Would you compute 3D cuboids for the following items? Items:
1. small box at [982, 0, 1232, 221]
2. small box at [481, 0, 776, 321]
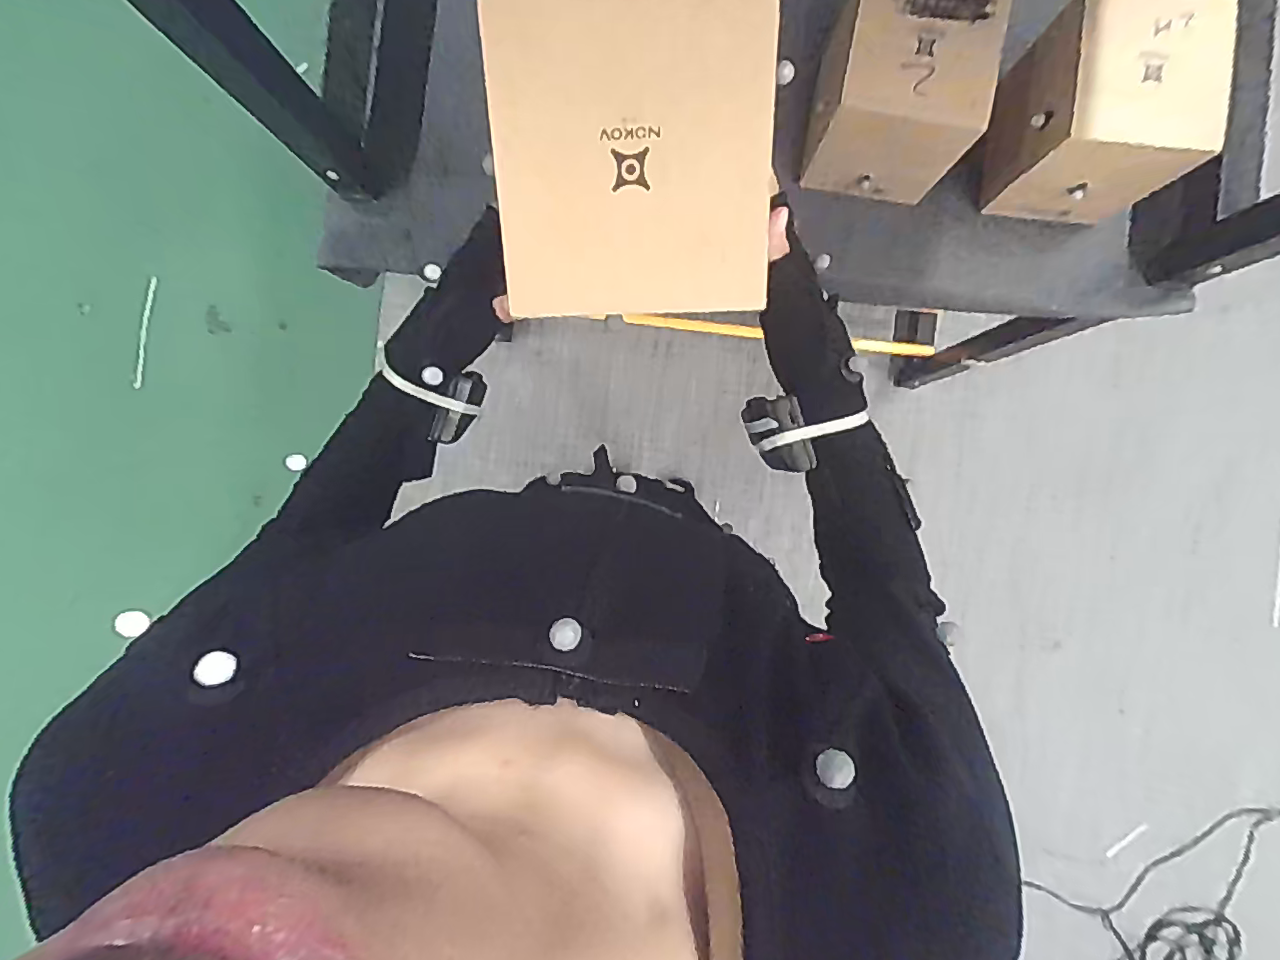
[{"bbox_3d":[0.560,-0.449,0.673,0.168,0.176,0.179,6,89,1],"label":"small box"},{"bbox_3d":[0.002,-0.216,0.396,0.168,0.176,0.179,-1,109,5],"label":"small box"}]
